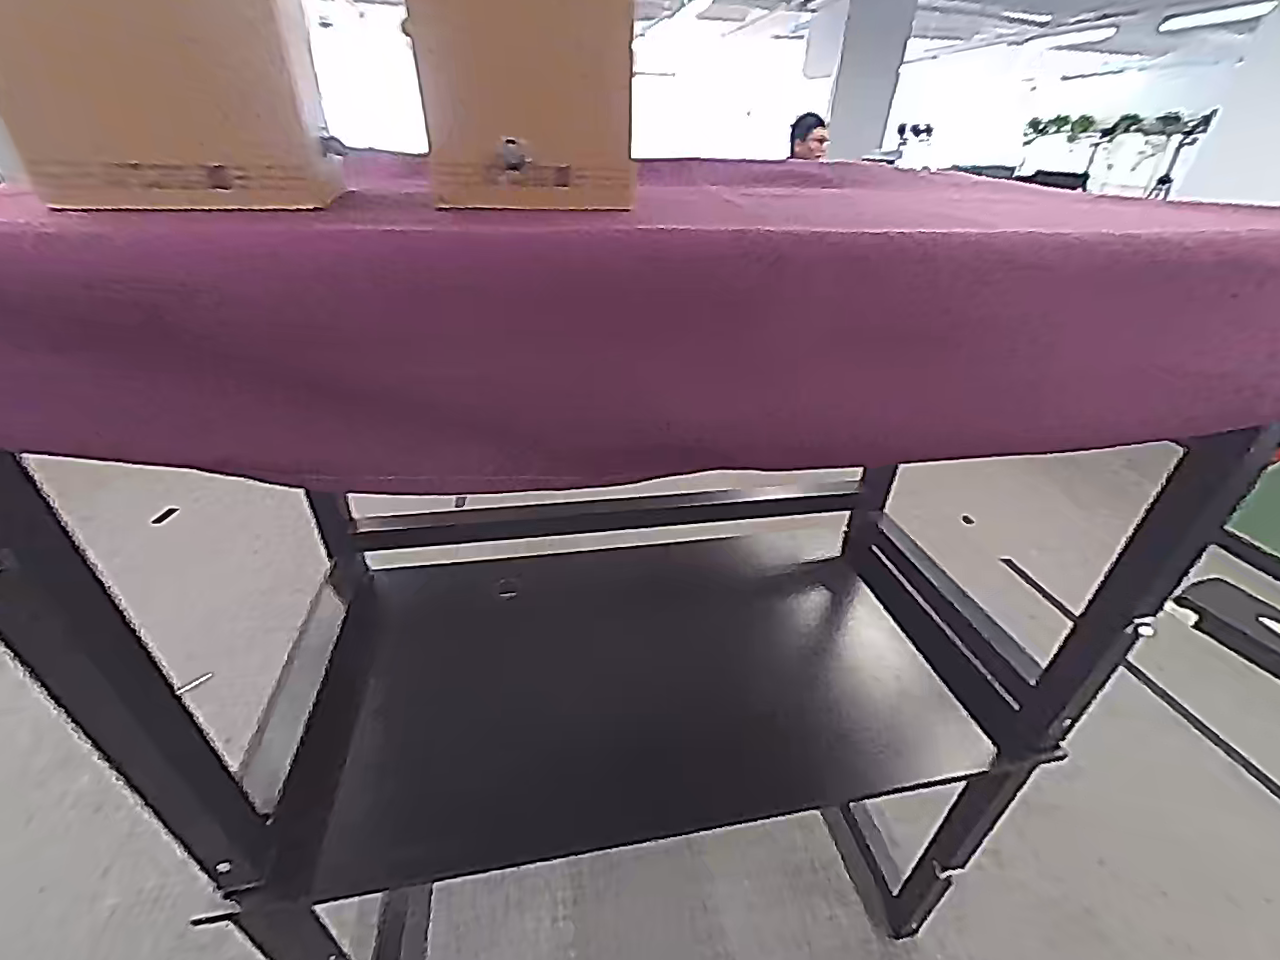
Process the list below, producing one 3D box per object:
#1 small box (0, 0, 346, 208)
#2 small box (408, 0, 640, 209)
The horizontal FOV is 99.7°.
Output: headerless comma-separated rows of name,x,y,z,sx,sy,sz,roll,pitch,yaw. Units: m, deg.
small box,-0.330,-0.303,0.396,0.168,0.176,0.179,-10,33,-17
small box,-0.098,-0.341,0.471,0.168,0.176,0.179,-6,33,-11
